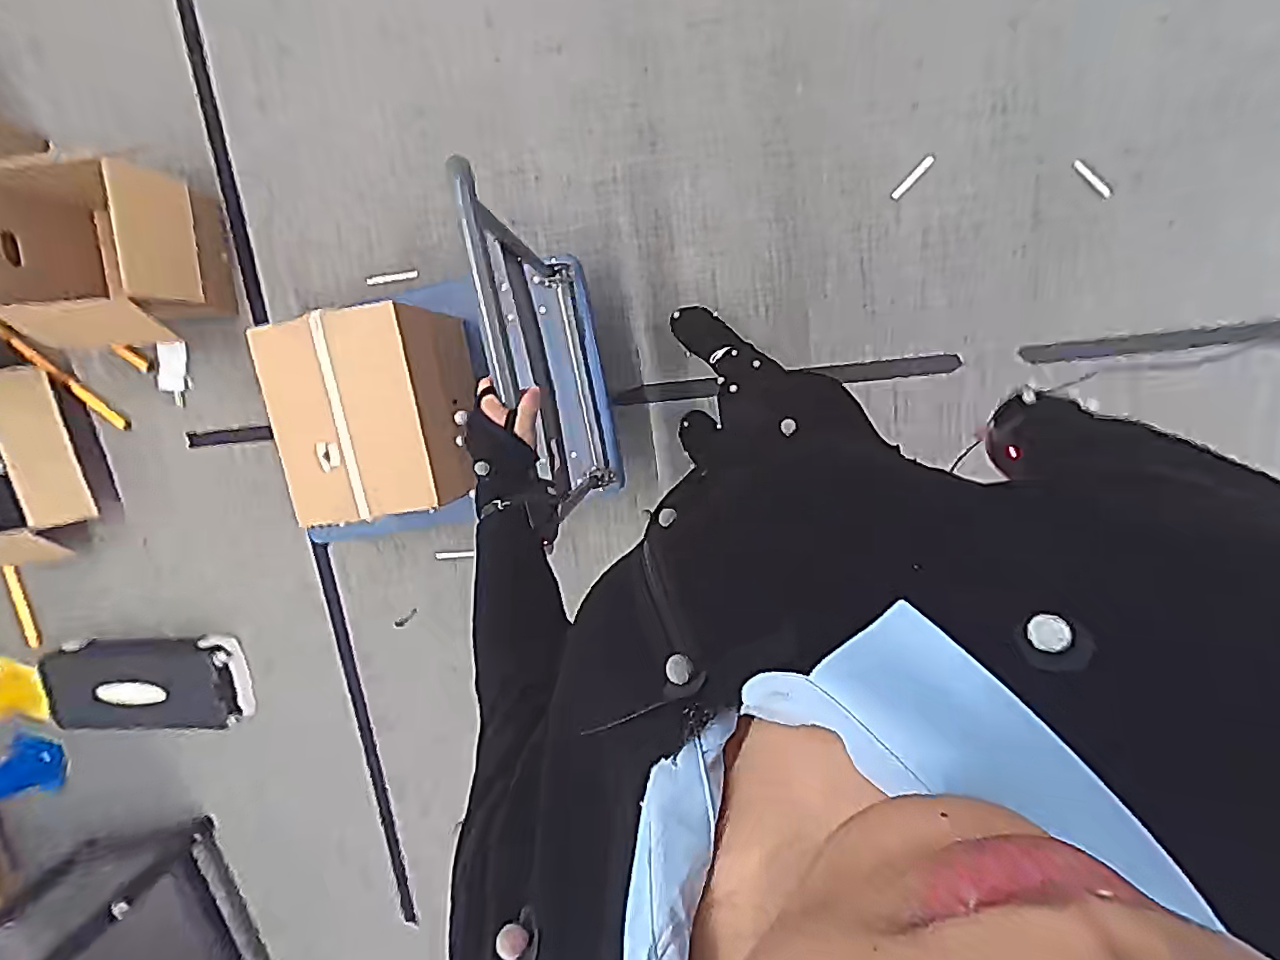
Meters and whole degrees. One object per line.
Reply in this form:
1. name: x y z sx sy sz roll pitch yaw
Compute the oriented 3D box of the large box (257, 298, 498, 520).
1. large box: -0.553 -0.160 1.216 0.320 0.320 0.408 -8 100 8
